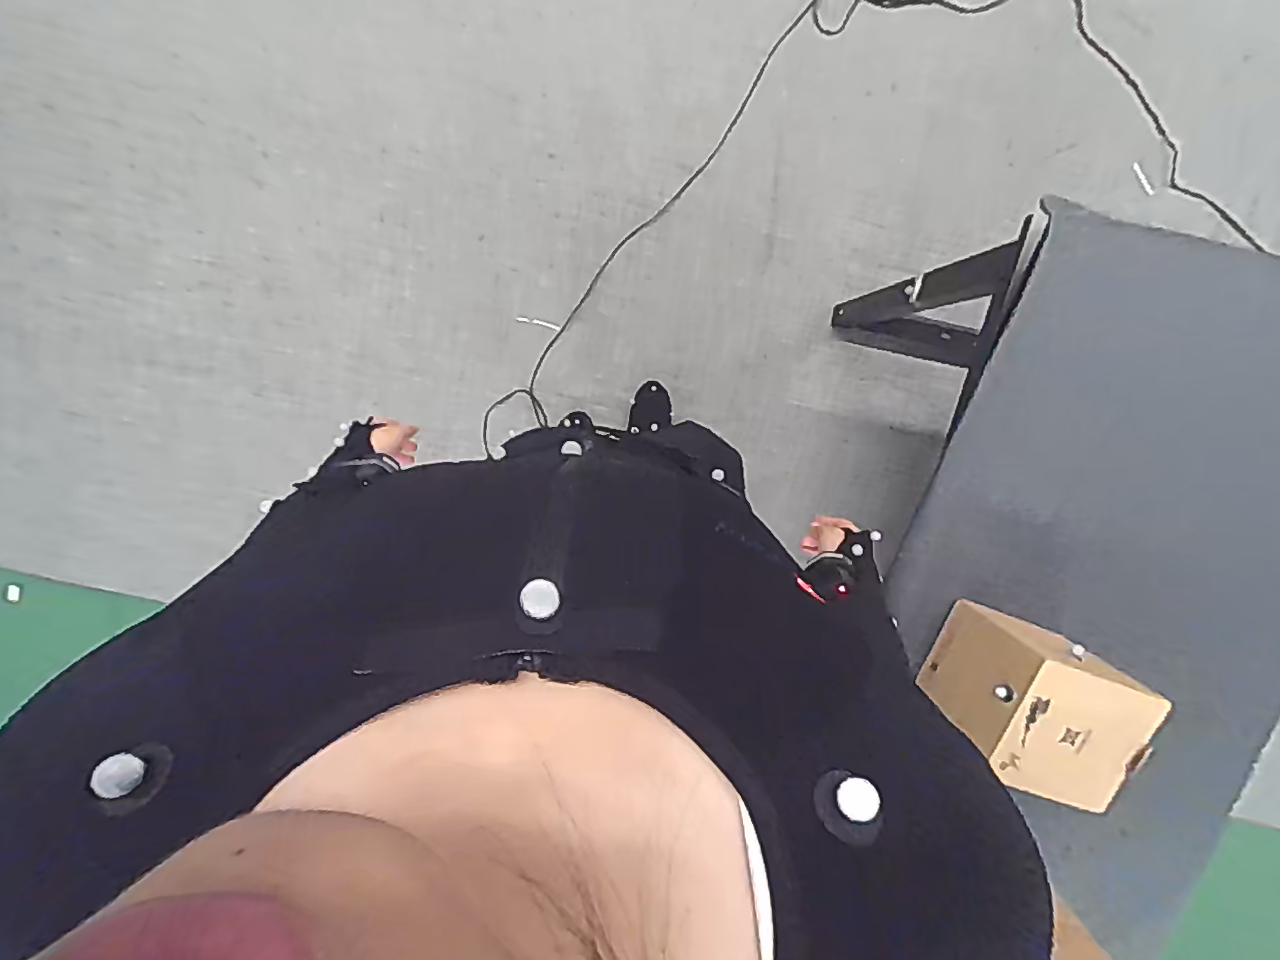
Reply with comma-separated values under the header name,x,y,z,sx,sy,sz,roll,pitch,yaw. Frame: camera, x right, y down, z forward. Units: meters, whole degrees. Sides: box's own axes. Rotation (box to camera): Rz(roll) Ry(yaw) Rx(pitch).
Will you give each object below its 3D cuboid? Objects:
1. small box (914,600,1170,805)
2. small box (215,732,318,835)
name,x,y,z,sx,sy,sz,roll,pitch,yaw
small box,0.513,0.282,0.719,0.179,0.176,0.168,20,100,-7
small box,-1.070,0.870,1.565,0.168,0.176,0.179,20,100,-4
